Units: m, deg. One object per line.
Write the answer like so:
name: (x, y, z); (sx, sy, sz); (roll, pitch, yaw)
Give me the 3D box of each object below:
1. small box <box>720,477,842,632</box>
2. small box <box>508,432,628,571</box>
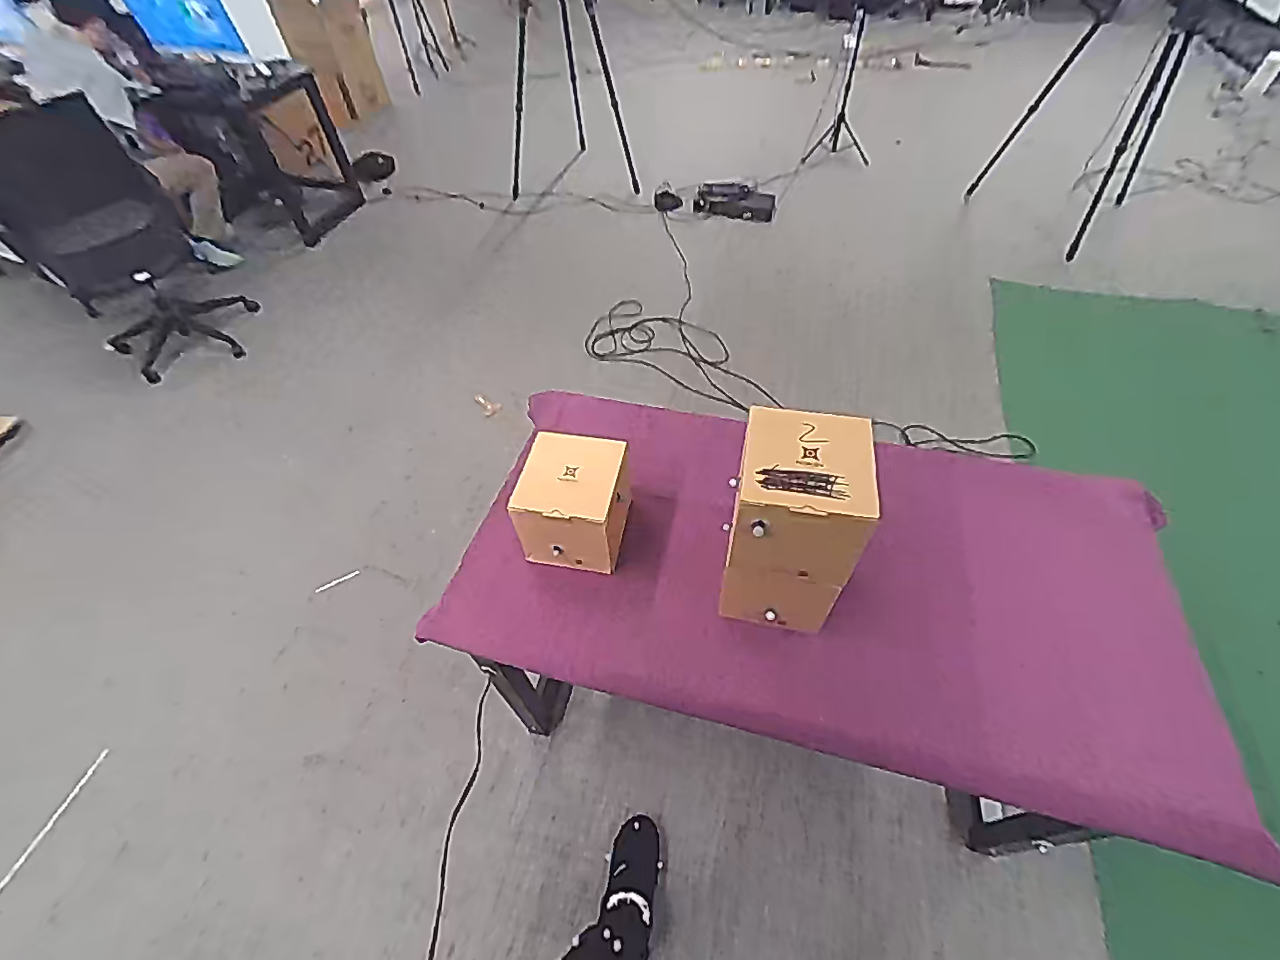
small box: (0.226, 0.123, 0.888); (0.168, 0.176, 0.179); (9, 52, 10)
small box: (-0.118, 0.040, 0.973); (0.168, 0.176, 0.179); (7, 53, 8)
